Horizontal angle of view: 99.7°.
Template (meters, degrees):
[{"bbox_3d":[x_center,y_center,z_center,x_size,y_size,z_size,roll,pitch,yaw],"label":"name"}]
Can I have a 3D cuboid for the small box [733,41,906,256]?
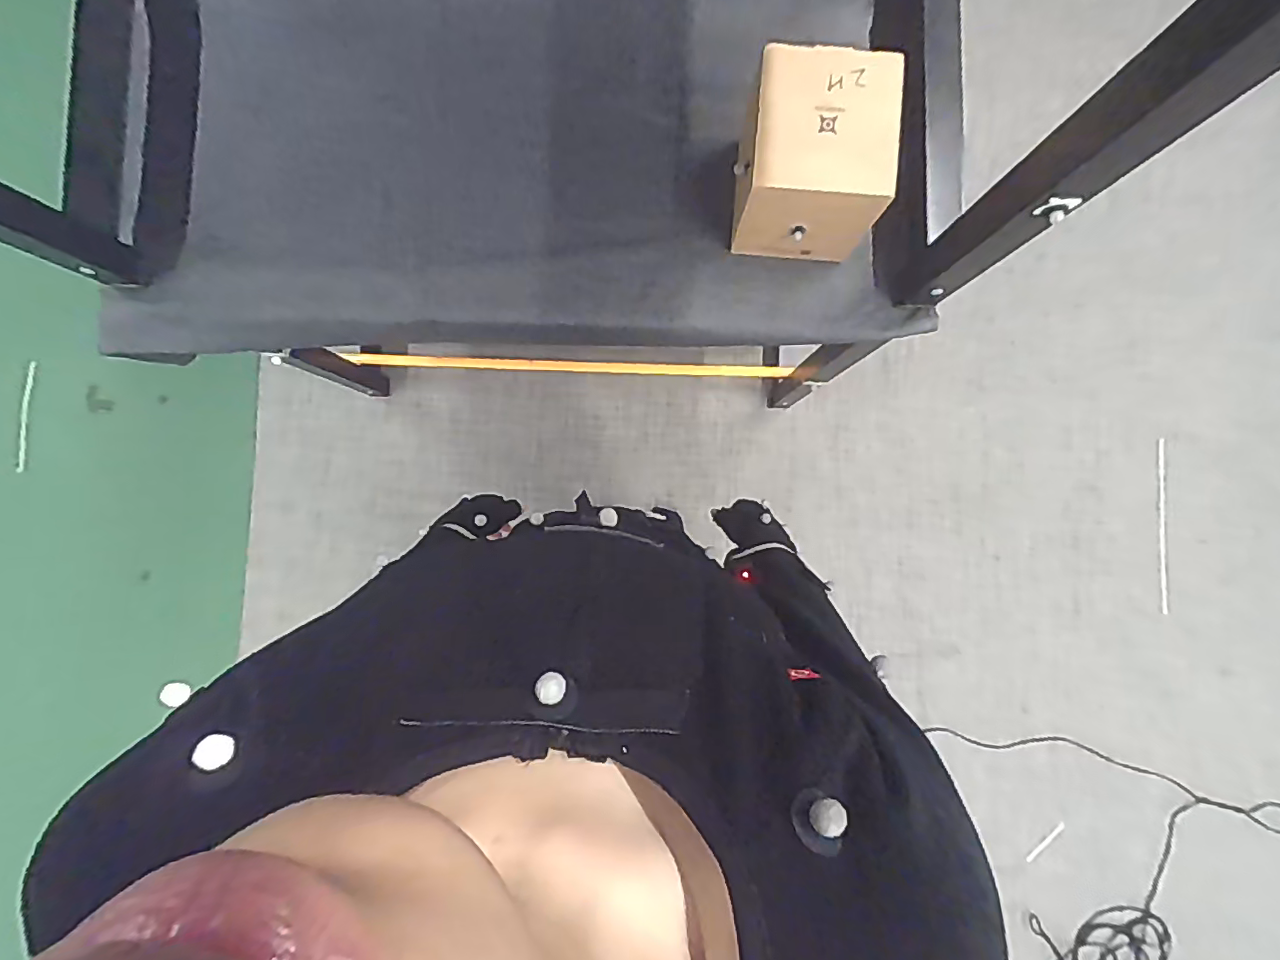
[{"bbox_3d":[0.220,-0.414,0.704,0.168,0.176,0.179,5,87,0],"label":"small box"}]
